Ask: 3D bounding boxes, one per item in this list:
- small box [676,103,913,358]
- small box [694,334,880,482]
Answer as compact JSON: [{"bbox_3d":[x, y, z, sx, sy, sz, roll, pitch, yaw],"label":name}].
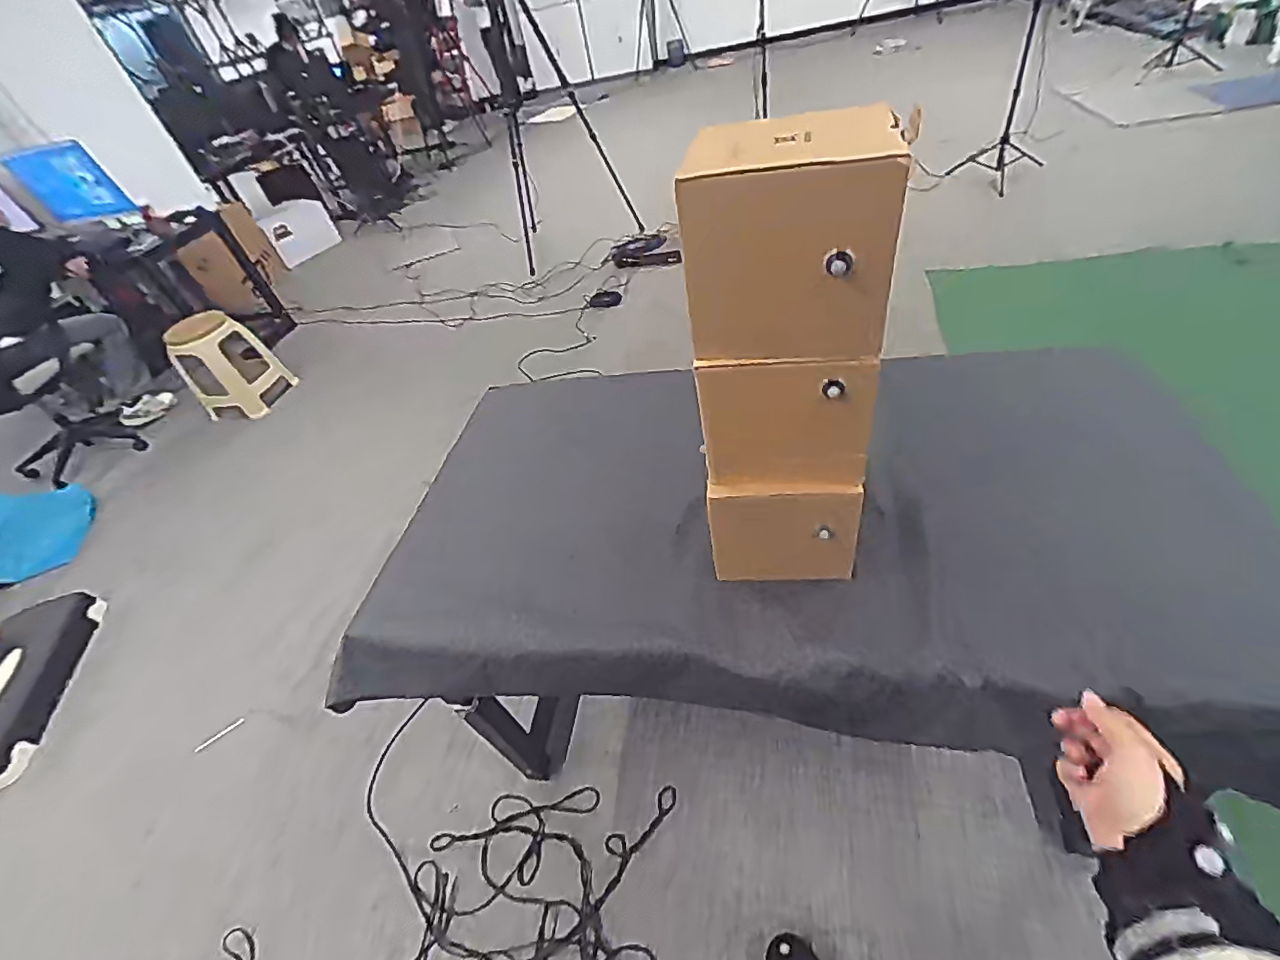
[{"bbox_3d":[0.142,-0.230,0.515,0.179,0.176,0.168,1,44,16],"label":"small box"},{"bbox_3d":[0.164,-0.111,0.623,0.179,0.176,0.168,0,45,13],"label":"small box"}]
